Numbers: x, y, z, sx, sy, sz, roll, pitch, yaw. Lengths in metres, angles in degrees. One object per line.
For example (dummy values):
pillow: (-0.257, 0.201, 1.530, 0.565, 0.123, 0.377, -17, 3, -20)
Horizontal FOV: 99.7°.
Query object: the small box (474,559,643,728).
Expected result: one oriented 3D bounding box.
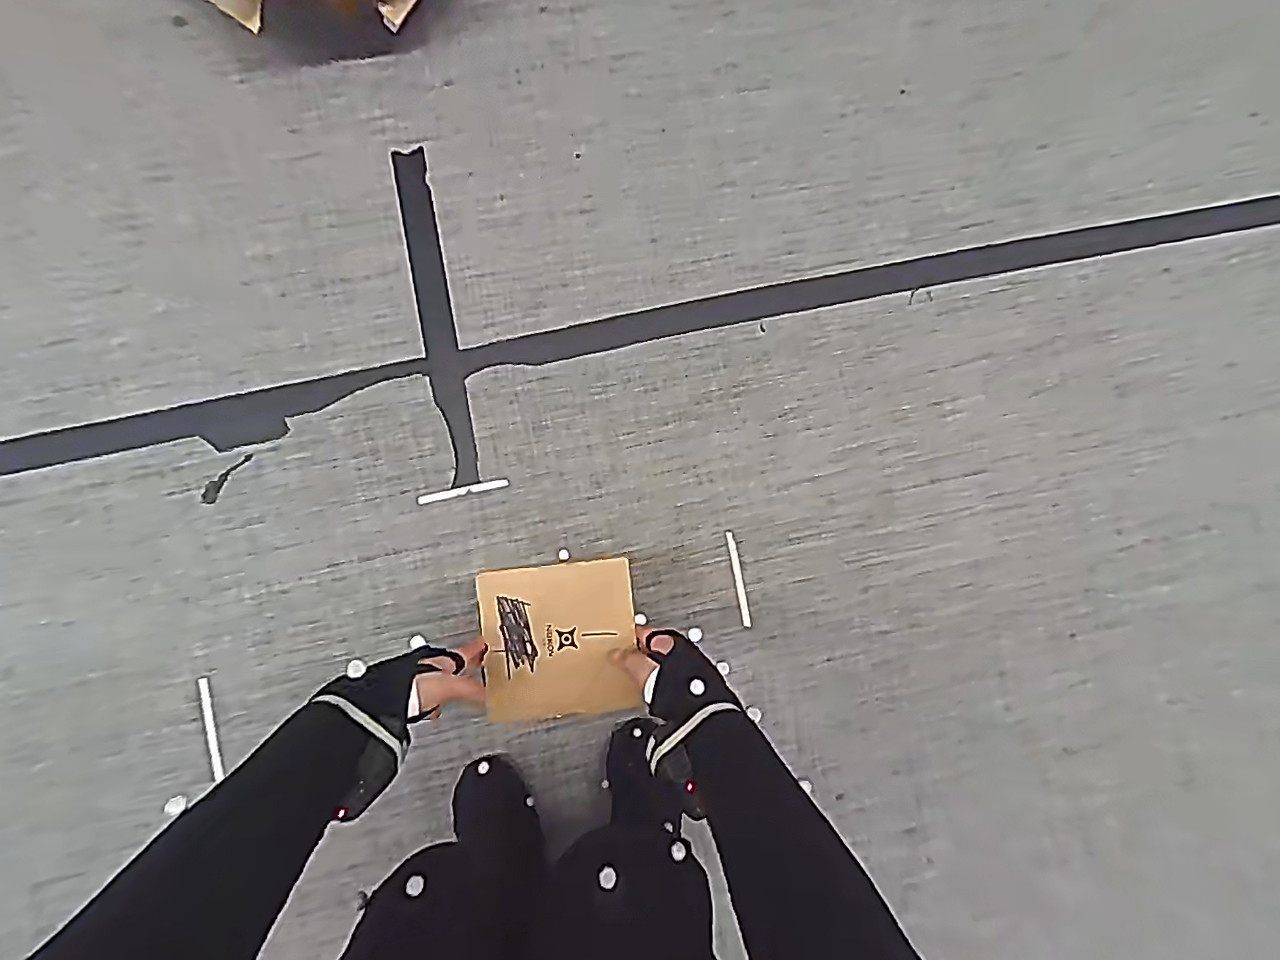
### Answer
small box: (-0.094, 0.190, 0.673, 0.179, 0.176, 0.168, -6, 84, -5)
